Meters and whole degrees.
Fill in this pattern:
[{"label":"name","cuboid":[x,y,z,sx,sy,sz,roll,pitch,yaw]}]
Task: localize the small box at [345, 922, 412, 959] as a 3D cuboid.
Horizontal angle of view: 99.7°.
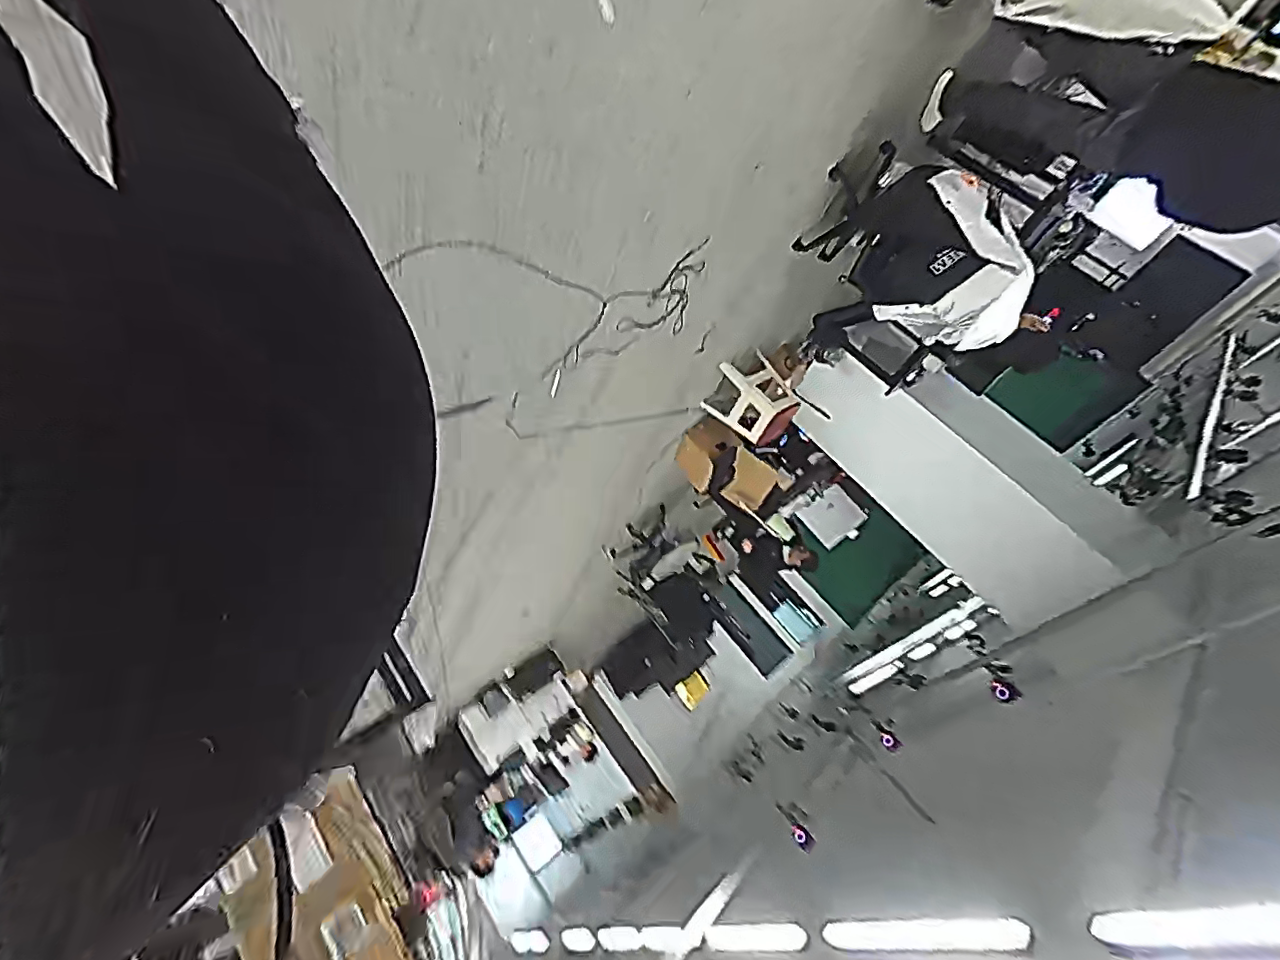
[{"label":"small box","cuboid":[-0.885,1.646,1.833,0.168,0.176,0.179,-28,158,-30]}]
